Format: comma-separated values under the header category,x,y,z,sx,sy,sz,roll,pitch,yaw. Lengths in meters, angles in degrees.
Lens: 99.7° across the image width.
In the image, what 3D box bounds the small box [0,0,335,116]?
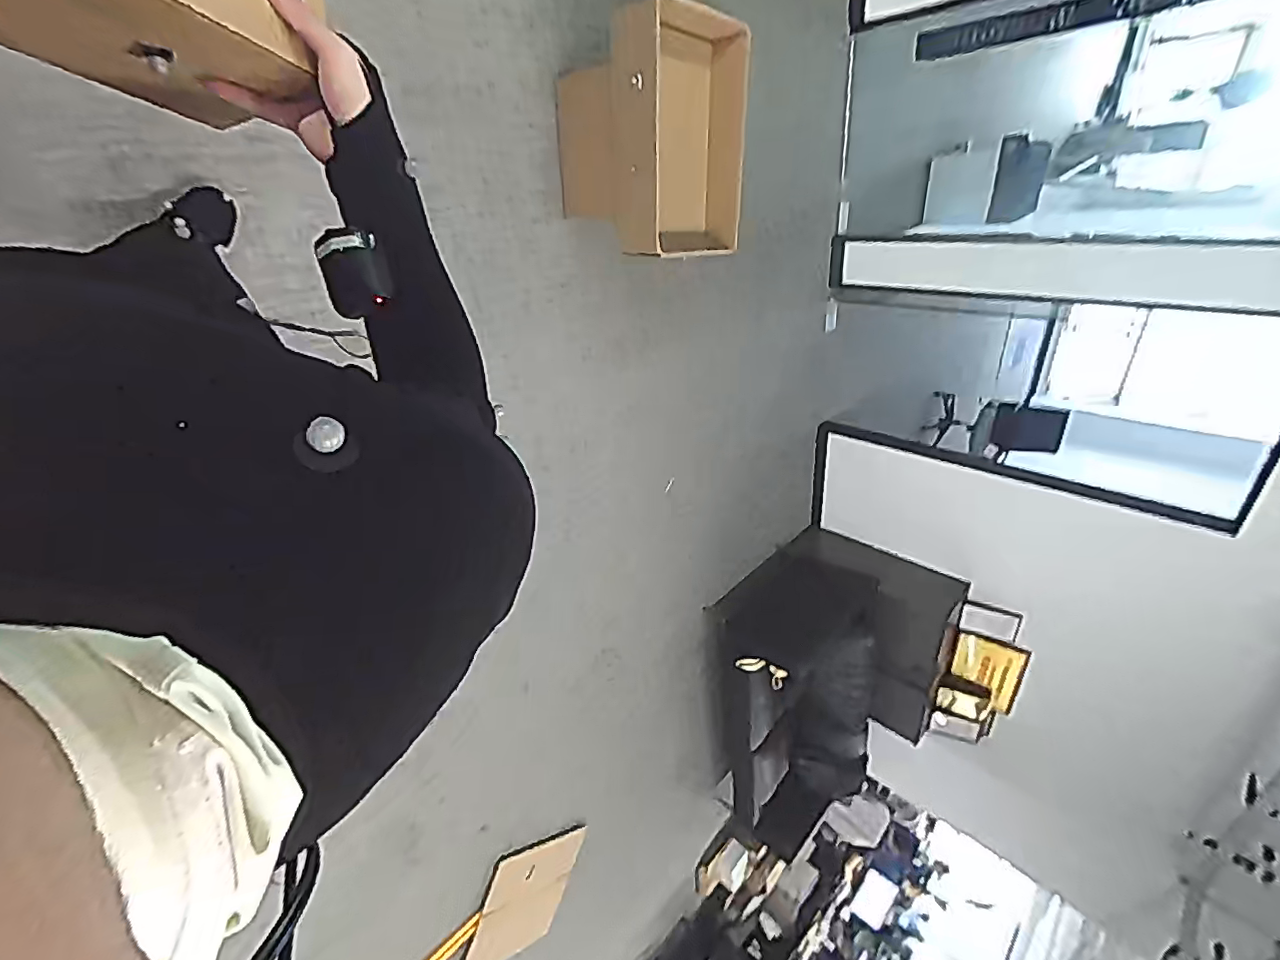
category,x,y,z,sx,sy,sz,roll,pitch,yaw
small box,-0.367,-0.404,0.402,0.179,0.176,0.168,-18,109,-63
